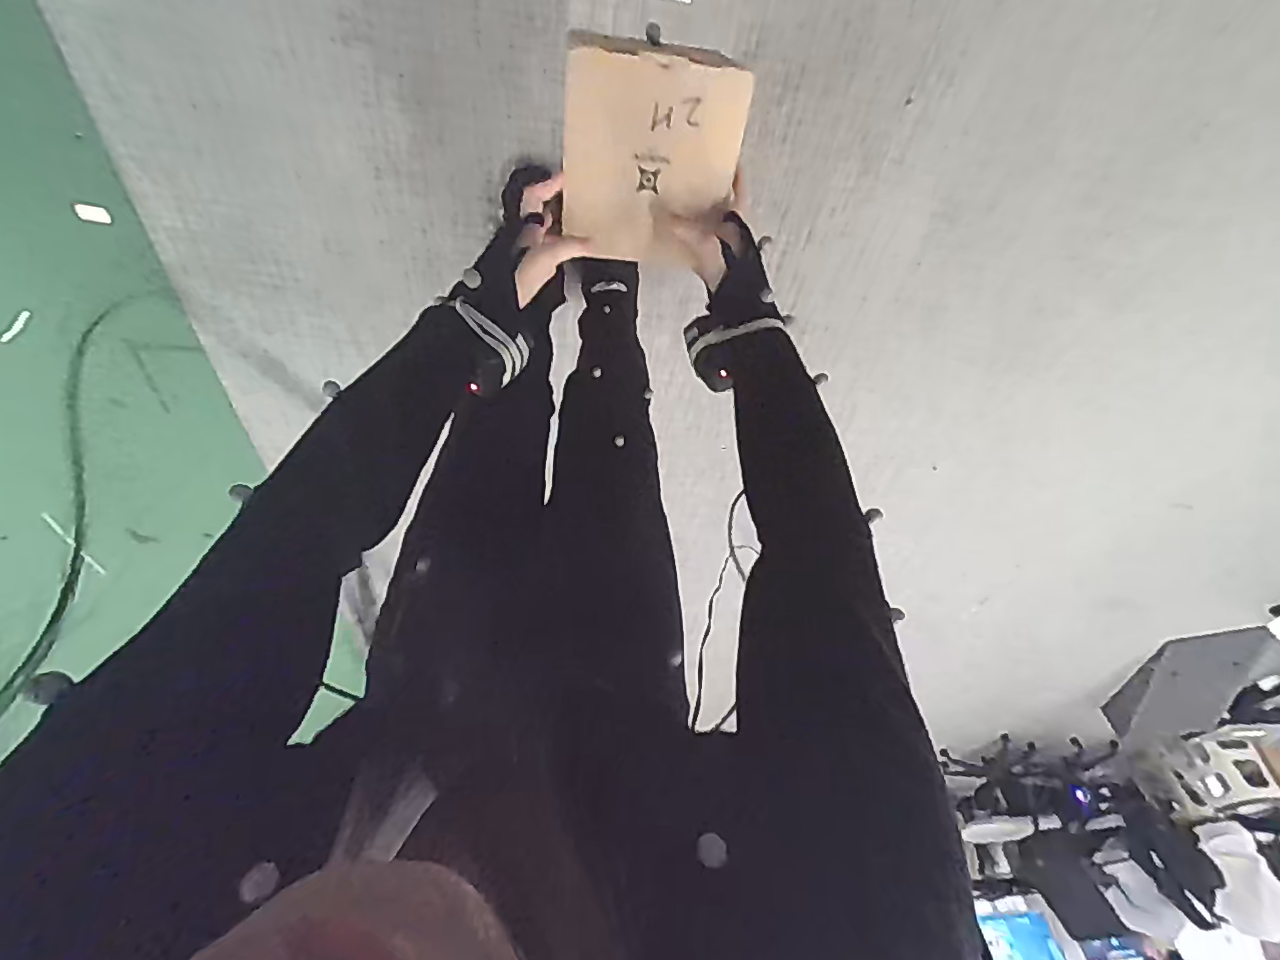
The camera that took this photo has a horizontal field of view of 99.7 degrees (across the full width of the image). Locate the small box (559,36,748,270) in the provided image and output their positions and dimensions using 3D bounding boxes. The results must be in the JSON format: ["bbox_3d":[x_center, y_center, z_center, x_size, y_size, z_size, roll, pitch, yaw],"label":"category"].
[{"bbox_3d":[0.002,-0.353,0.587,0.168,0.176,0.179,2,132,-8],"label":"small box"}]
